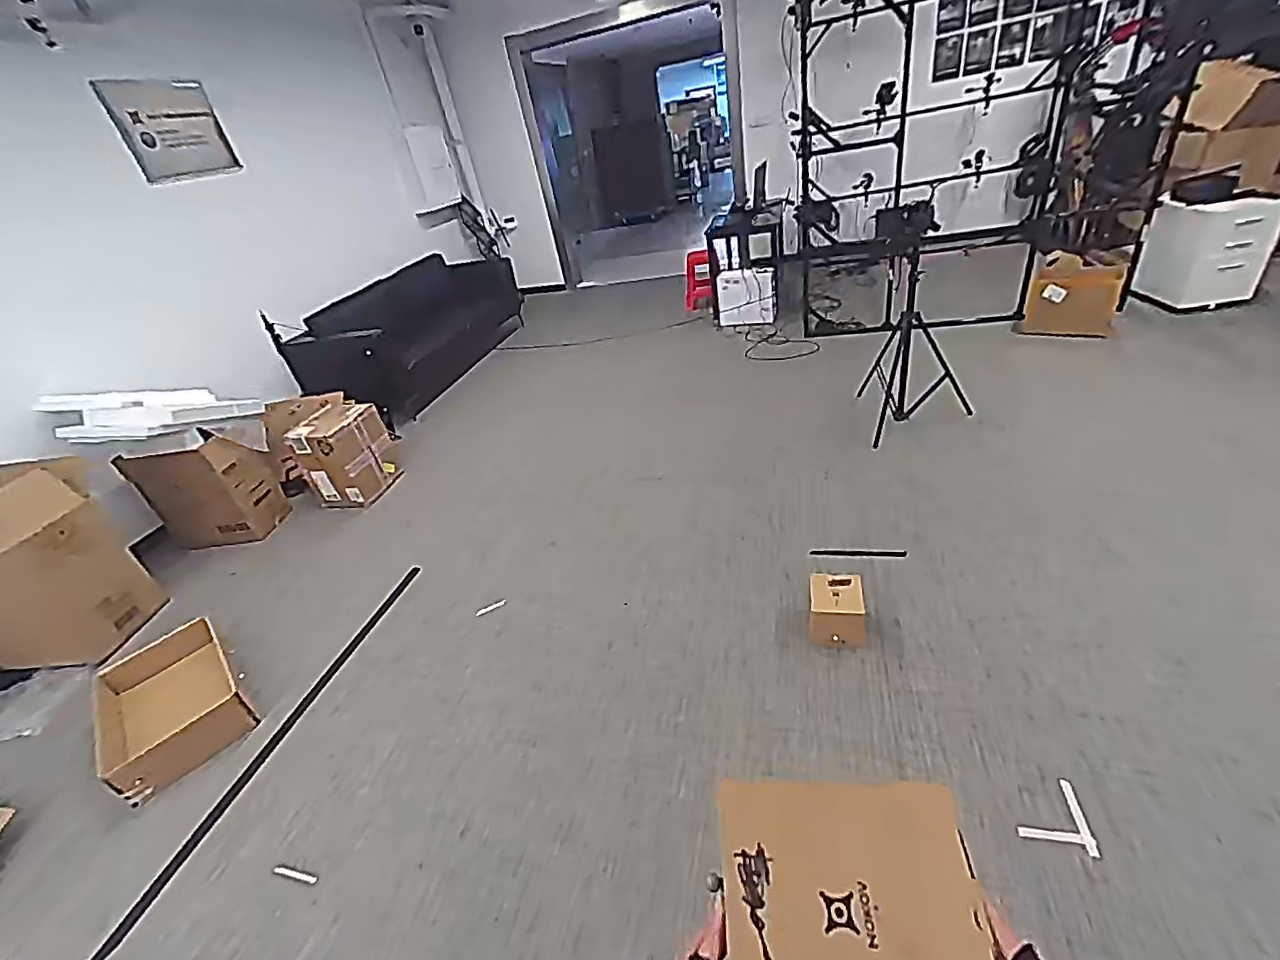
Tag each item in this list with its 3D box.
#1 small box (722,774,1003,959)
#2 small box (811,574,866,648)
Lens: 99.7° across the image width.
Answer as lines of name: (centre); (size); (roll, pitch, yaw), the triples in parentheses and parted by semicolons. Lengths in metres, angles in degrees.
small box: (0.157, 0.348, 0.428); (0.179, 0.176, 0.168); (-2, 47, 7)
small box: (0.675, 0.447, 1.854); (0.168, 0.176, 0.179); (-1, 35, 17)
